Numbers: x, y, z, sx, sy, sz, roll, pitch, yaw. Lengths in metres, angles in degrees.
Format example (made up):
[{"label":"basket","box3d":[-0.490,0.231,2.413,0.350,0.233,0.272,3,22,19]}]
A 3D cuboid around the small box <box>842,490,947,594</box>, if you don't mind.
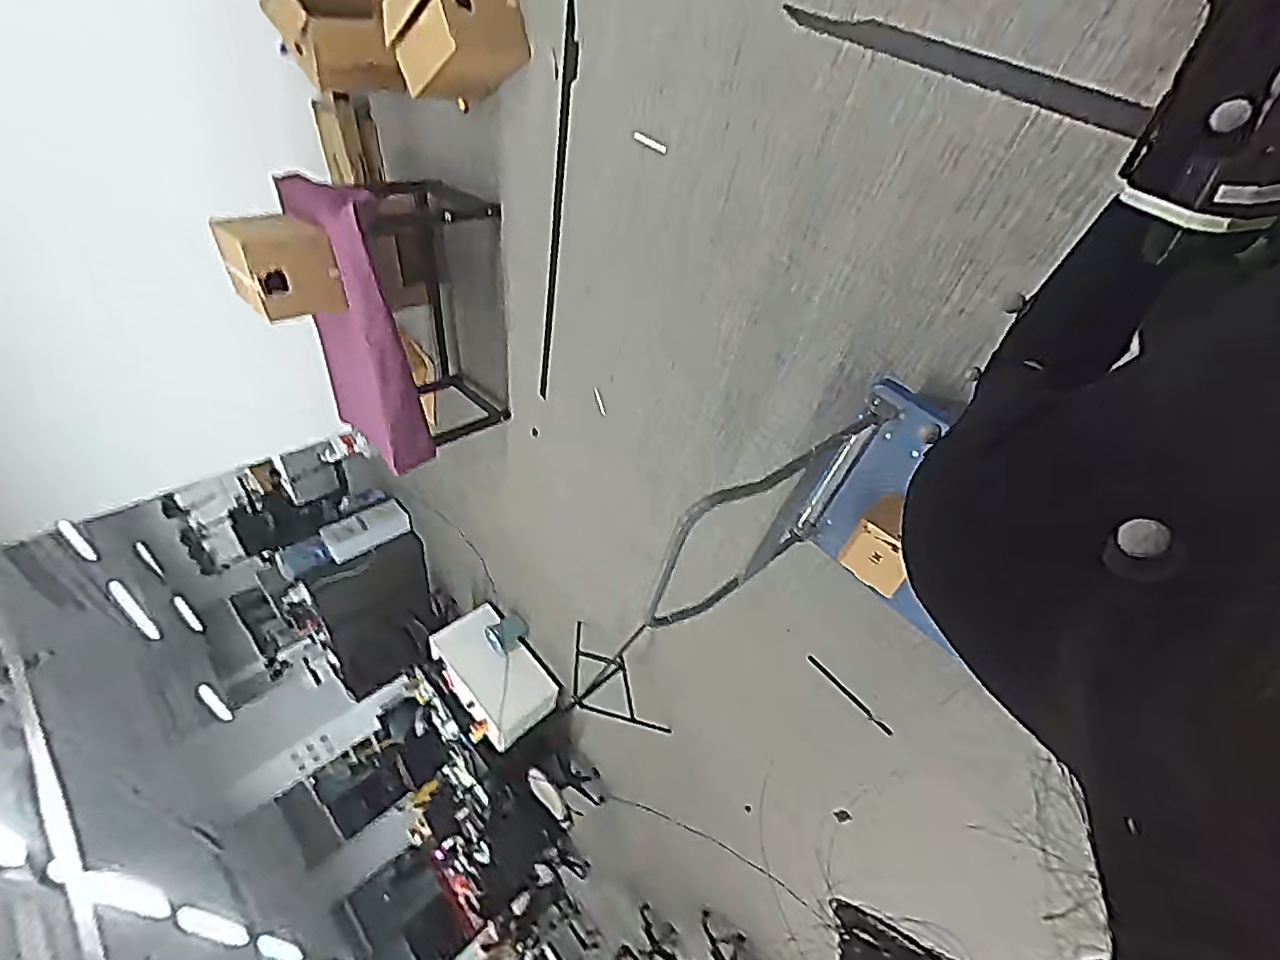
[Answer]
[{"label":"small box","box3d":[0.673,0.160,1.429,0.168,0.176,0.179,38,139,28]}]
